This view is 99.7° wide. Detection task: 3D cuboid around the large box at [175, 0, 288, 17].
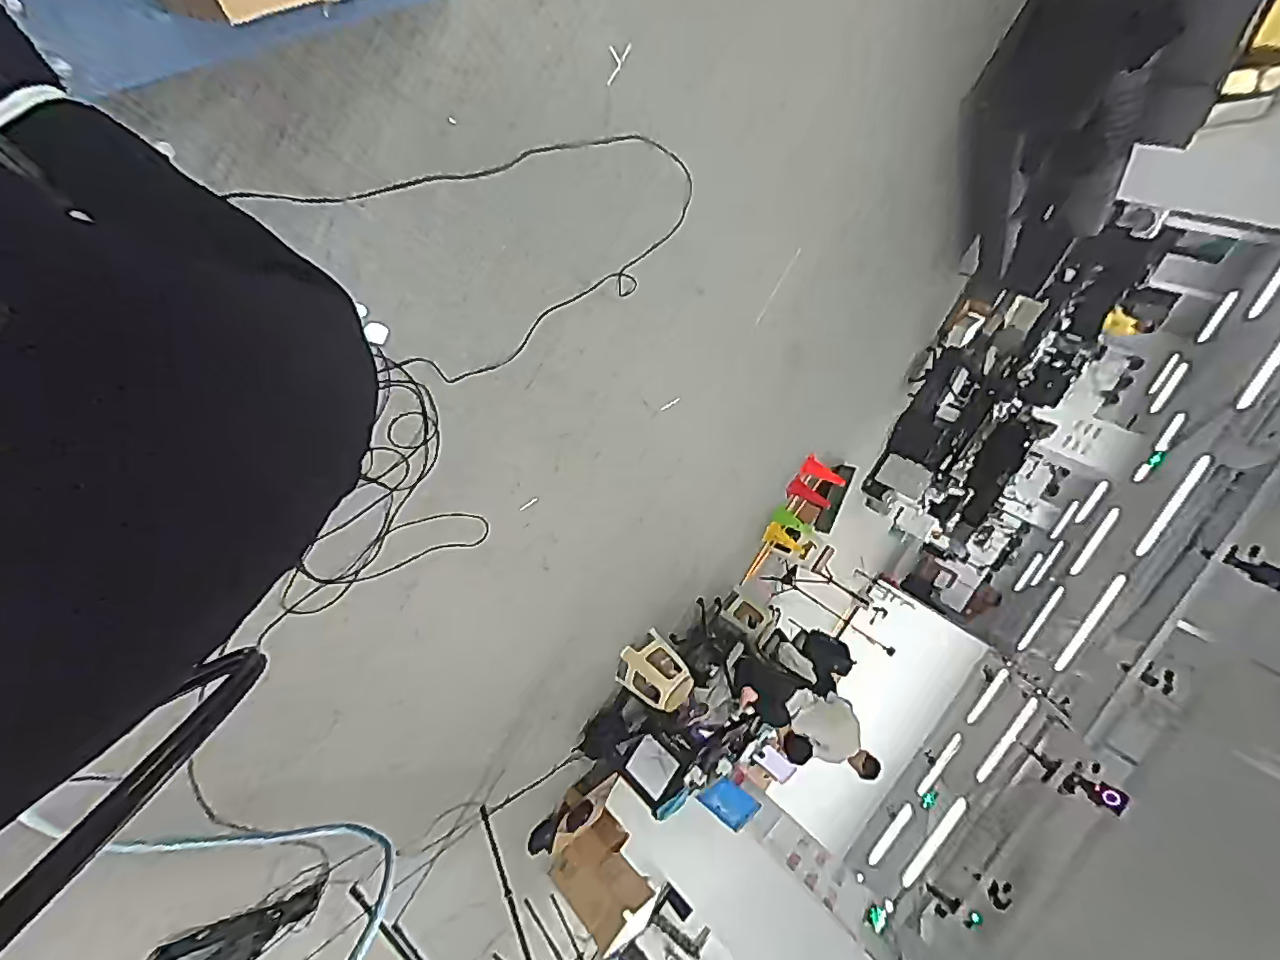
[{"bbox_3d":[-0.543,-0.874,0.664,0.320,0.320,0.408,-41,146,-22],"label":"large box"}]
